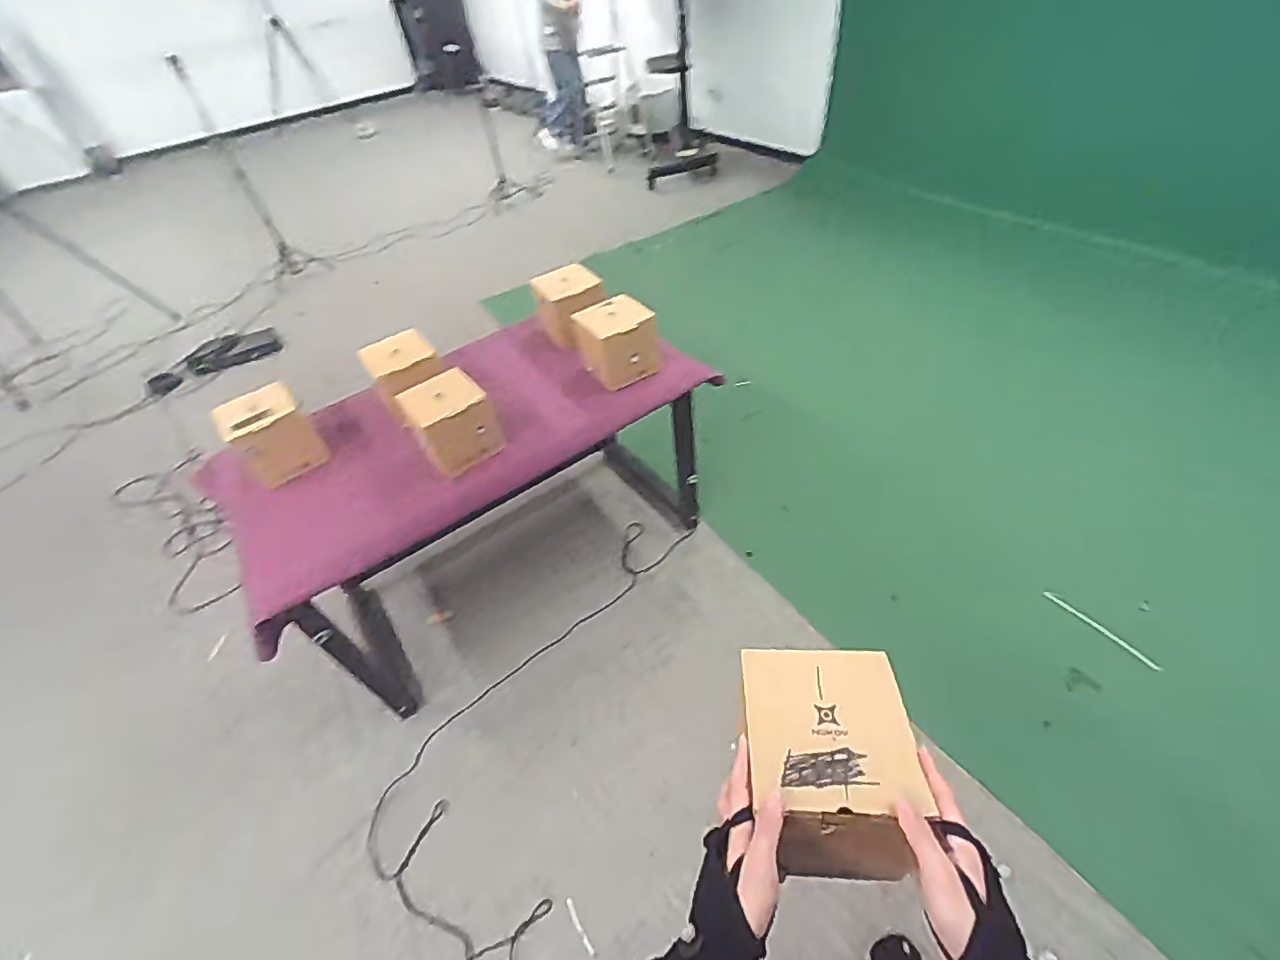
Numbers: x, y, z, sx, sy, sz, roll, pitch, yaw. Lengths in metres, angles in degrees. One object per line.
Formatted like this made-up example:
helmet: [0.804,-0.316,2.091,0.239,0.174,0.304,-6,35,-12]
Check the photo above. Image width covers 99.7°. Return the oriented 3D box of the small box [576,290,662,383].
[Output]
small box: [-0.053,-0.388,1.483,0.168,0.176,0.179,-27,48,-15]

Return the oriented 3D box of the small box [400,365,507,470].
small box: [-0.451,-0.148,1.327,0.168,0.176,0.179,-33,50,-22]

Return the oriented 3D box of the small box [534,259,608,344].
small box: [-0.203,-0.544,1.655,0.168,0.176,0.179,-28,50,-15]

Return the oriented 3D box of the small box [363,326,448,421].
small box: [-0.627,-0.292,1.490,0.168,0.176,0.179,-32,52,-20]

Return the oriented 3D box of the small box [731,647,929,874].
small box: [0.189,0.308,0.598,0.168,0.176,0.179,-2,38,5]
